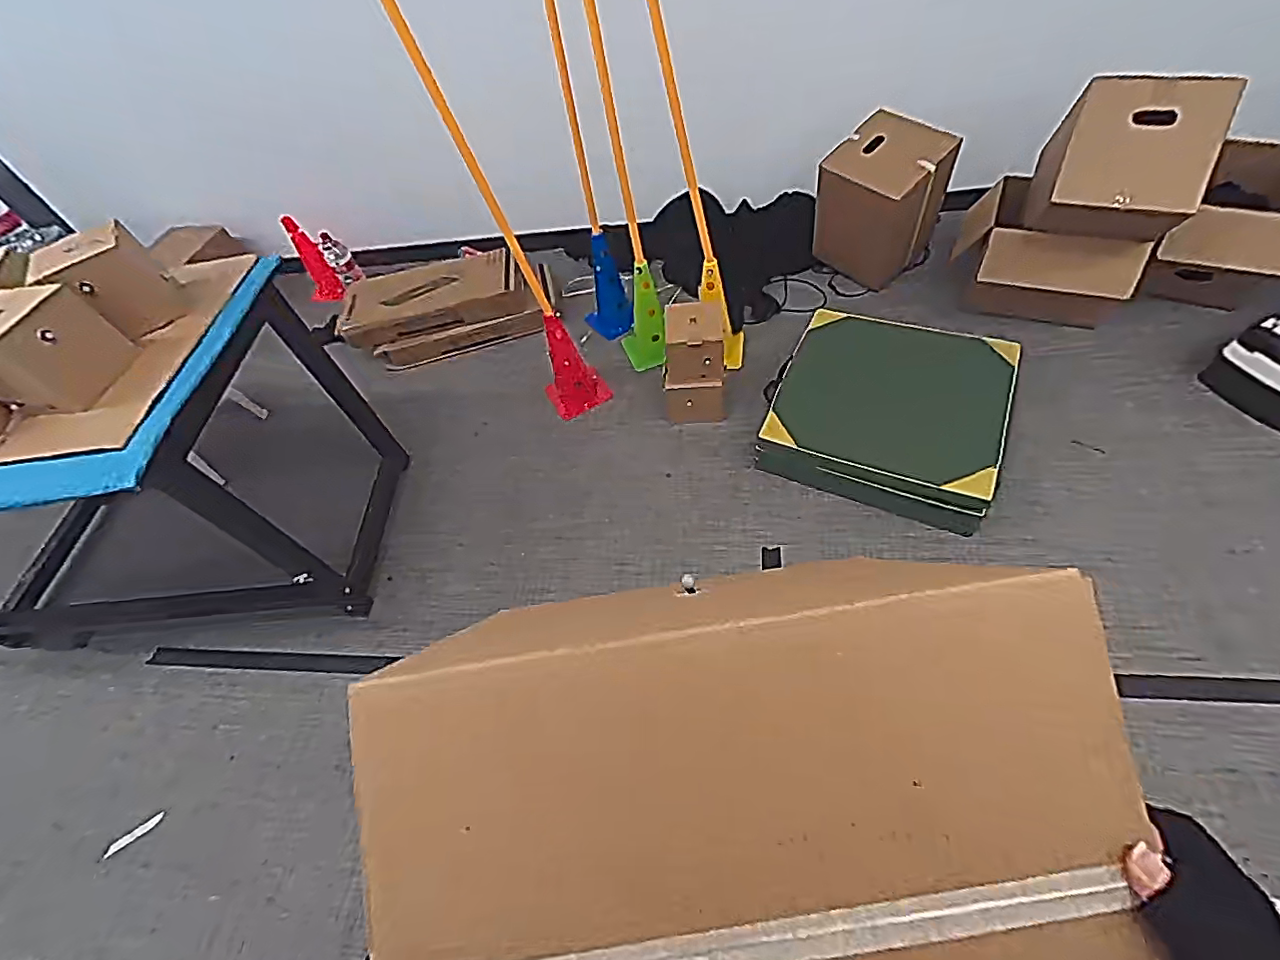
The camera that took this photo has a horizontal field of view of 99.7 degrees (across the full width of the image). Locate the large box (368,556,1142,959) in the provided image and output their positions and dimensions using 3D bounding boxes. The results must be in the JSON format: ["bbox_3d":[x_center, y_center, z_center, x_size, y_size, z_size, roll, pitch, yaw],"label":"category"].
[{"bbox_3d":[0.069,0.253,0.440,0.408,0.320,0.320,-9,84,0],"label":"large box"}]
